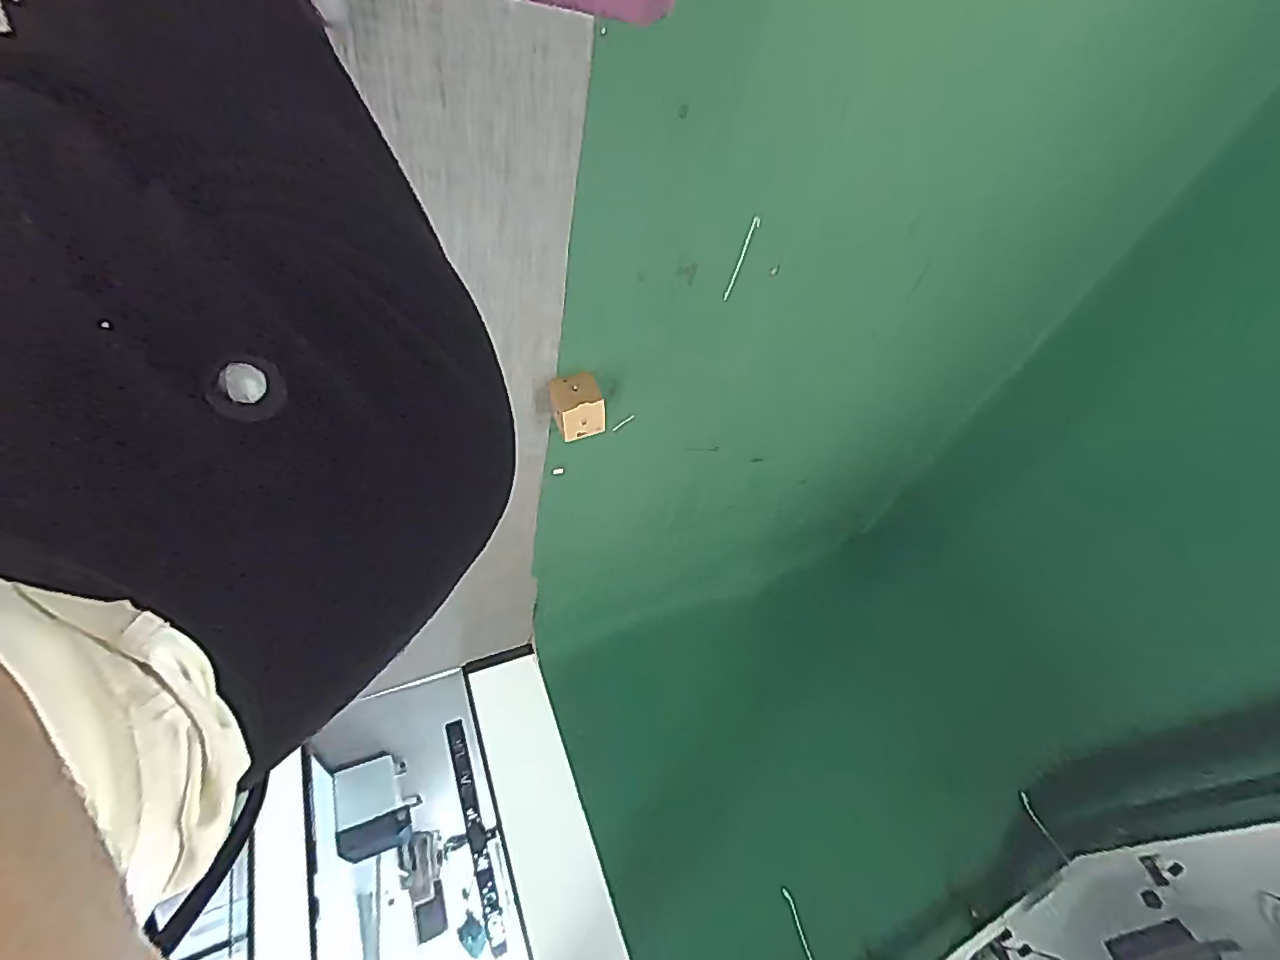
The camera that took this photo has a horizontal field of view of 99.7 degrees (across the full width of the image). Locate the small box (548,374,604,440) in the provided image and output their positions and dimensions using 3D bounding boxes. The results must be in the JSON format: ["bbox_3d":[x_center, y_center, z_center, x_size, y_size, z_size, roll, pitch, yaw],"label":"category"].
[{"bbox_3d":[-0.245,-0.287,2.069,0.168,0.176,0.179,-17,146,-15],"label":"small box"}]
